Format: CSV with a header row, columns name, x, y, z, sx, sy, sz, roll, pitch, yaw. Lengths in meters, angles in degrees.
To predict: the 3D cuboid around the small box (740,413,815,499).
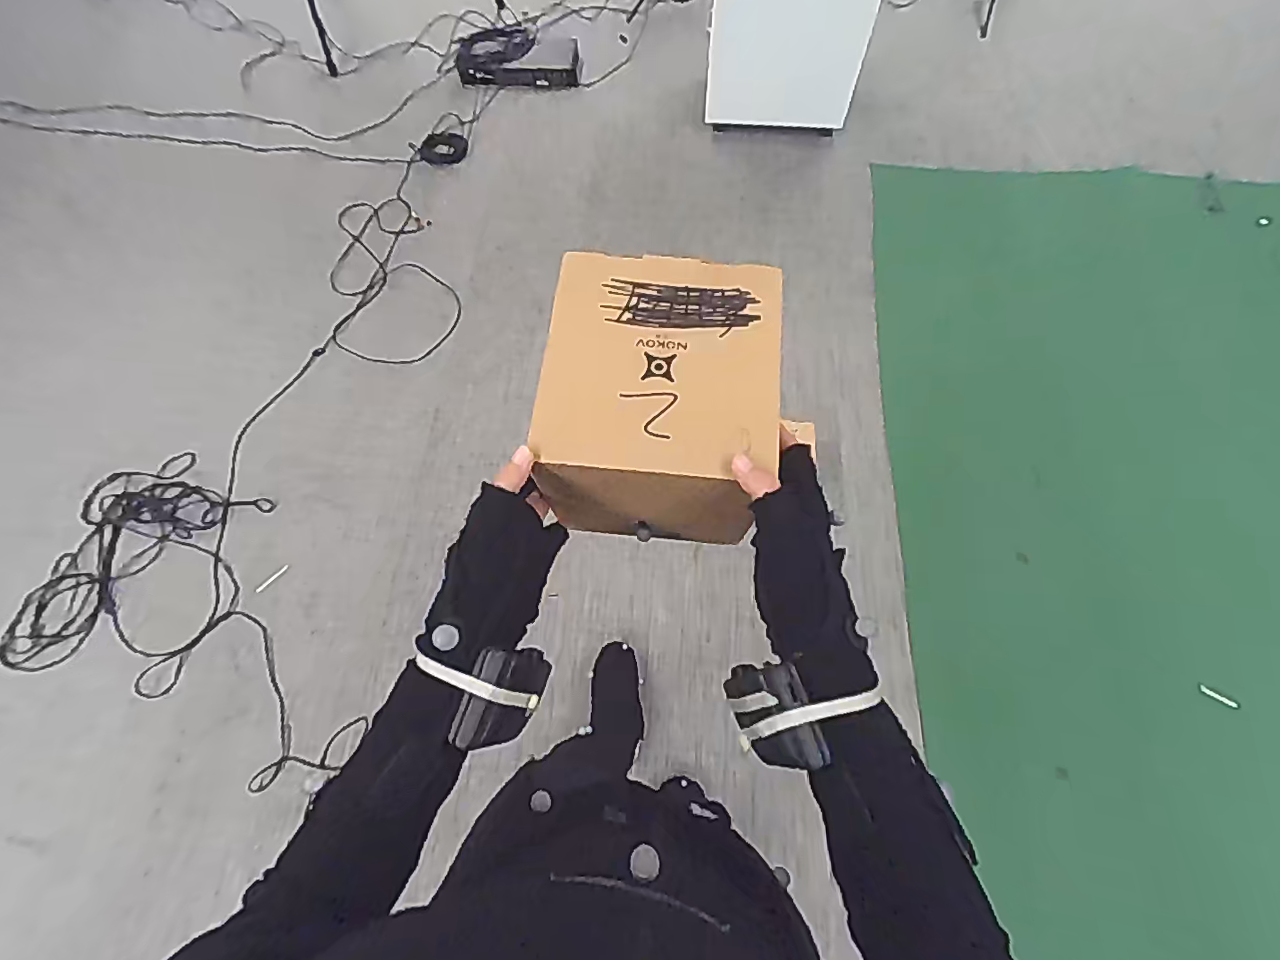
name,x,y,z,sx,sy,sz,roll,pitch,yaw
small box,0.362,-0.059,1.439,0.168,0.176,0.179,4,68,3
